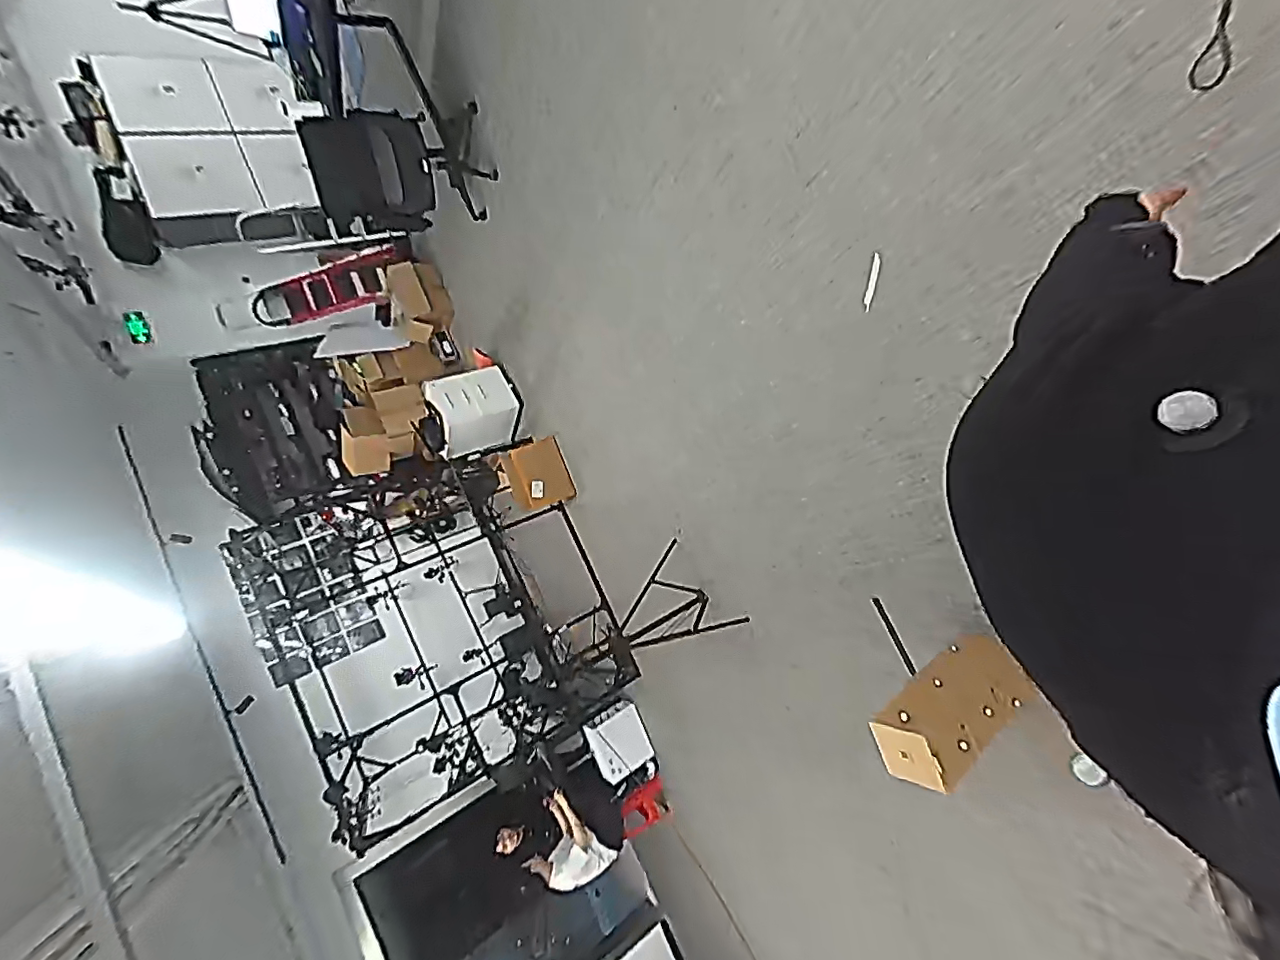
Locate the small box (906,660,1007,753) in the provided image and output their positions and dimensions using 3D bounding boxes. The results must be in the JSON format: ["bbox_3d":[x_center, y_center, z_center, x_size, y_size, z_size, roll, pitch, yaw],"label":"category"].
[{"bbox_3d":[0.907,0.633,1.537,0.179,0.176,0.168,-19,93,61],"label":"small box"}]

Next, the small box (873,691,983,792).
[{"bbox_3d":[0.777,0.694,1.461,0.179,0.176,0.168,-20,93,61],"label":"small box"}]
